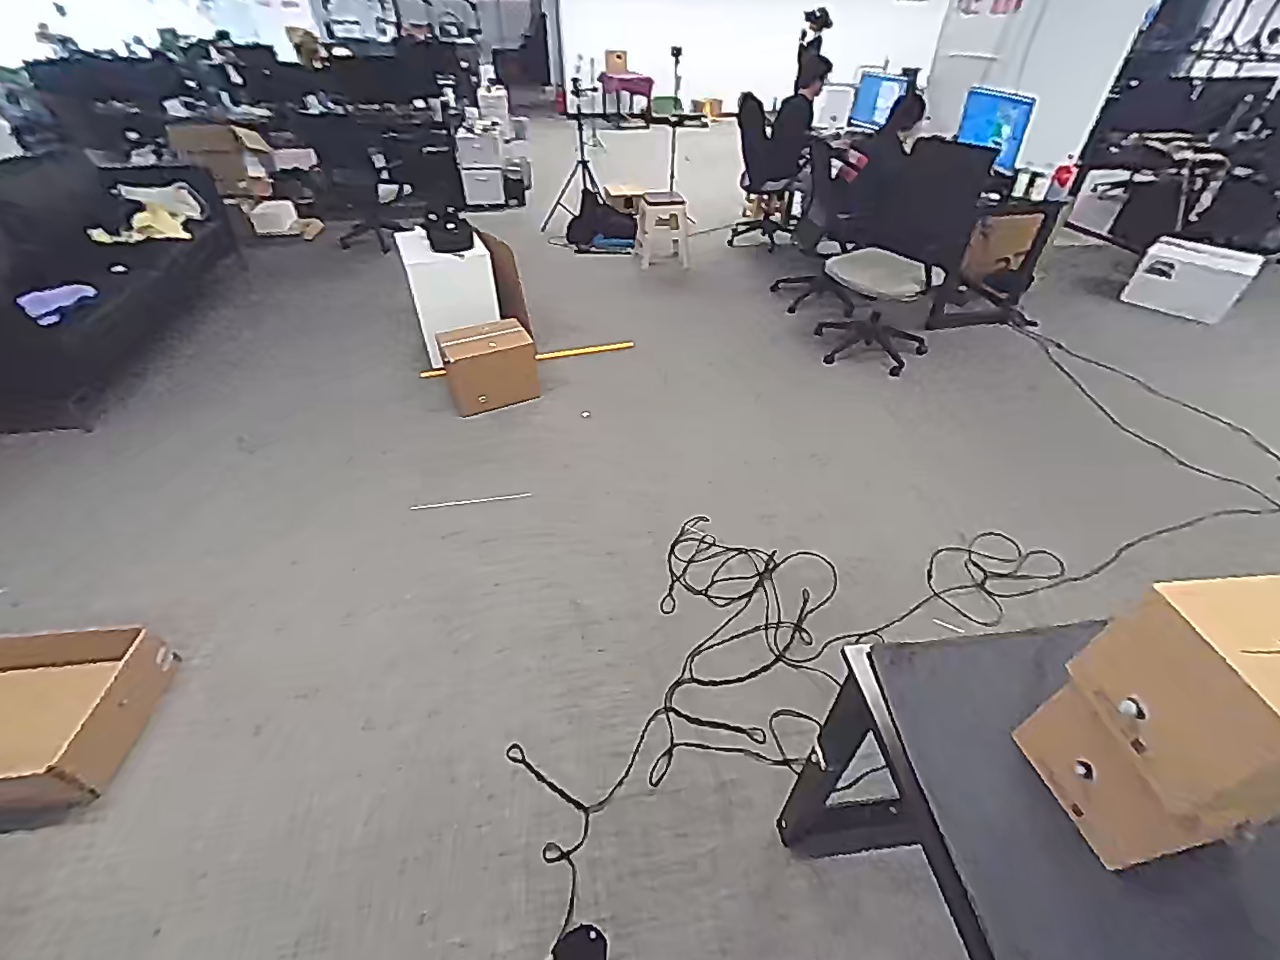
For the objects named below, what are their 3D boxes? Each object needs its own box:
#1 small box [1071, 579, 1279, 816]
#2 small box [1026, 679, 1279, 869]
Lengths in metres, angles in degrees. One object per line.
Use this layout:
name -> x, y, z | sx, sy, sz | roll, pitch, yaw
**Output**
small box -> 0.604, 0.218, 0.546 | 0.179, 0.176, 0.168 | -3, 41, -3
small box -> 0.617, 0.341, 0.656 | 0.179, 0.176, 0.168 | -7, 42, -10
